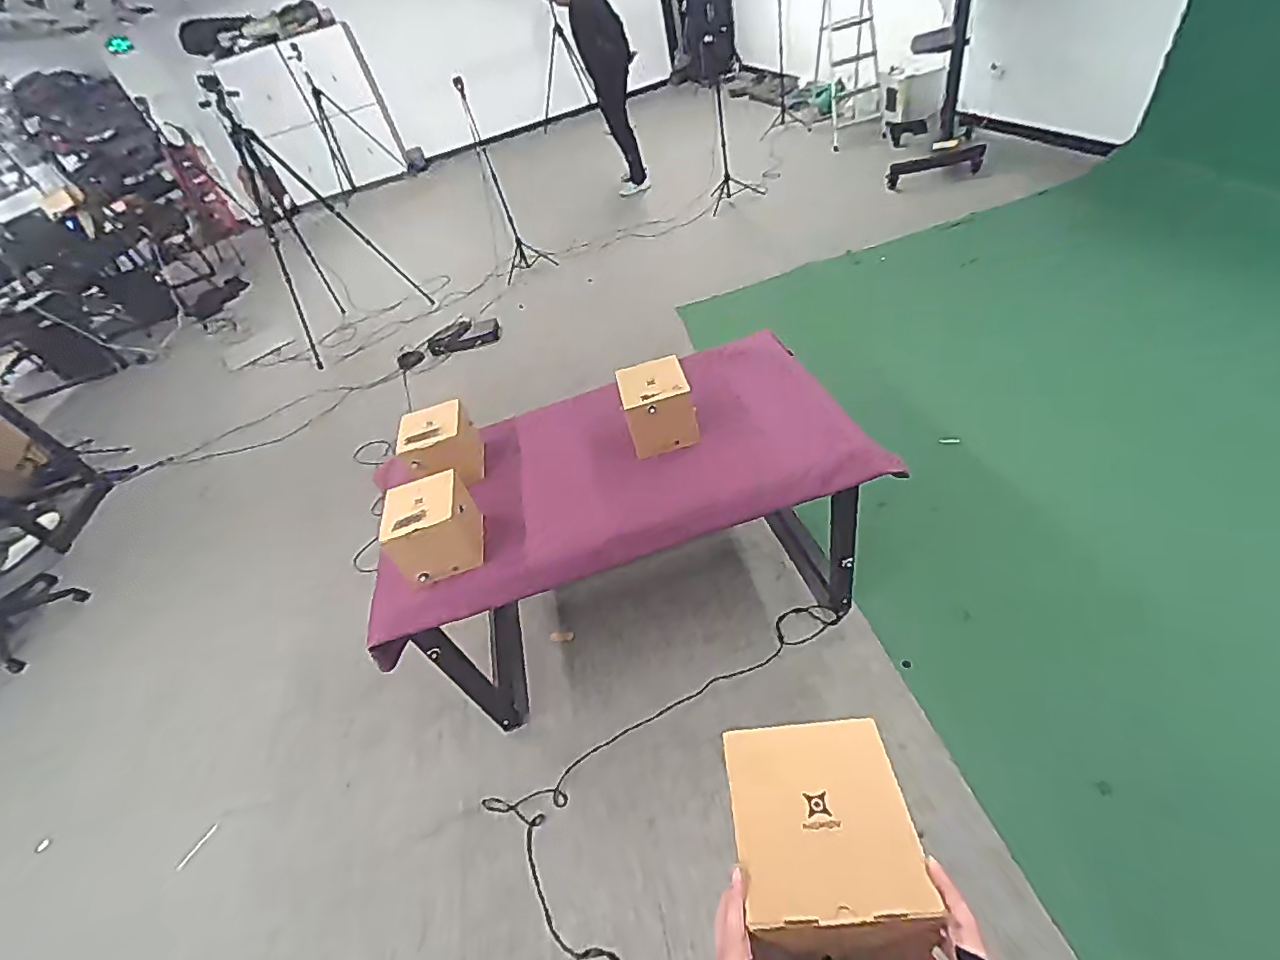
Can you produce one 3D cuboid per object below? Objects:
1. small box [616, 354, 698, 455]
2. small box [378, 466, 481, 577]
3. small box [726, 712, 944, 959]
[{"bbox_3d":[0.044,-0.194,1.393,0.168,0.176,0.179,-16,43,2],"label":"small box"},{"bbox_3d":[-0.478,0.104,1.254,0.168,0.176,0.179,-18,42,-2],"label":"small box"},{"bbox_3d":[0.184,0.375,0.569,0.168,0.176,0.179,-8,36,5],"label":"small box"}]
